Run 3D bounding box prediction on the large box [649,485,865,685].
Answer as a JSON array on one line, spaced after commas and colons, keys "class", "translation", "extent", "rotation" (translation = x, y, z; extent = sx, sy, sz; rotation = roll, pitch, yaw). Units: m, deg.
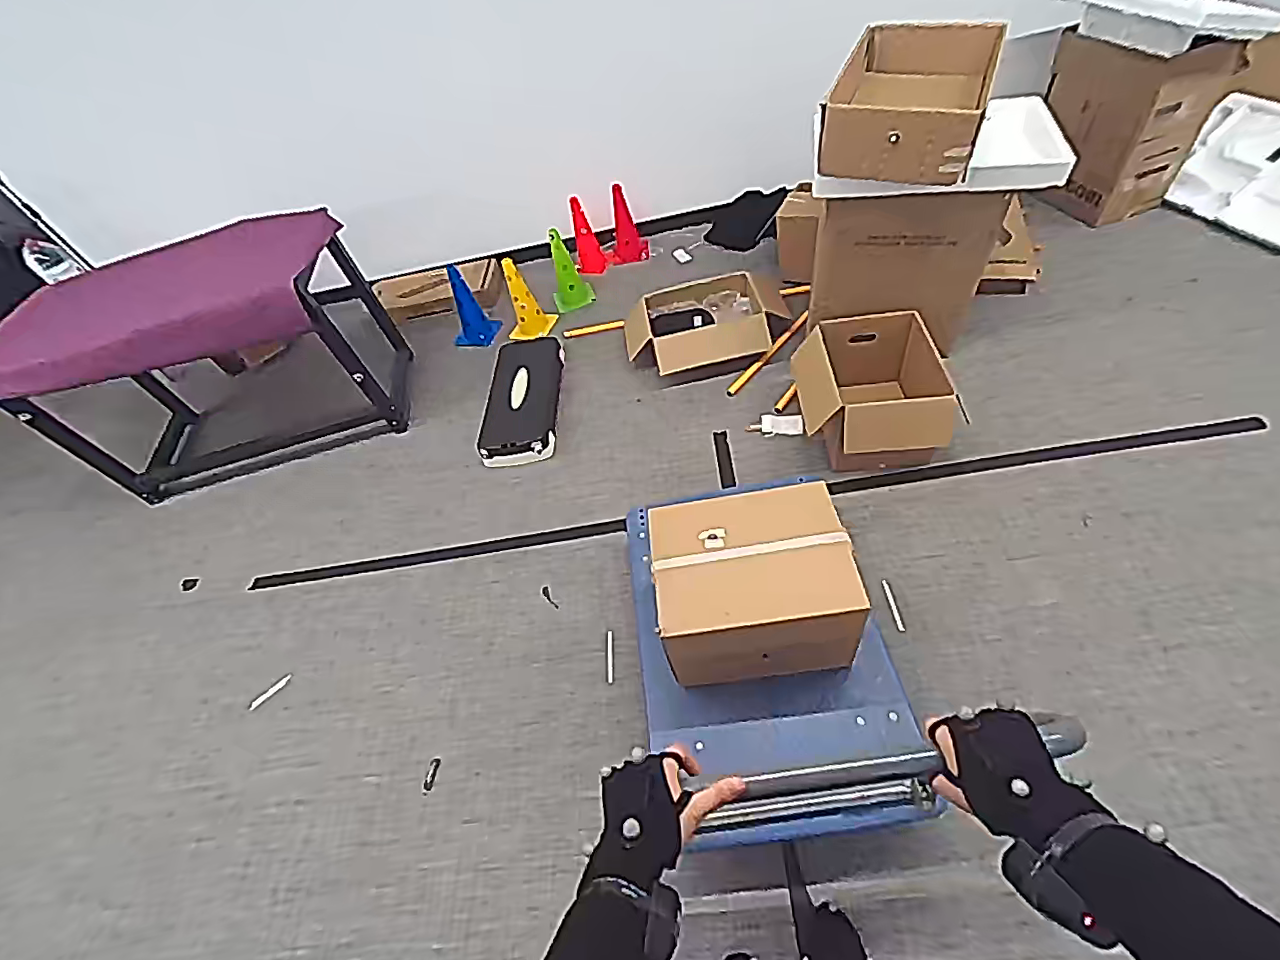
[{"class": "large box", "translation": [0.256, 0.254, 1.258], "extent": [0.408, 0.320, 0.320], "rotation": [-10, 49, 6]}]
